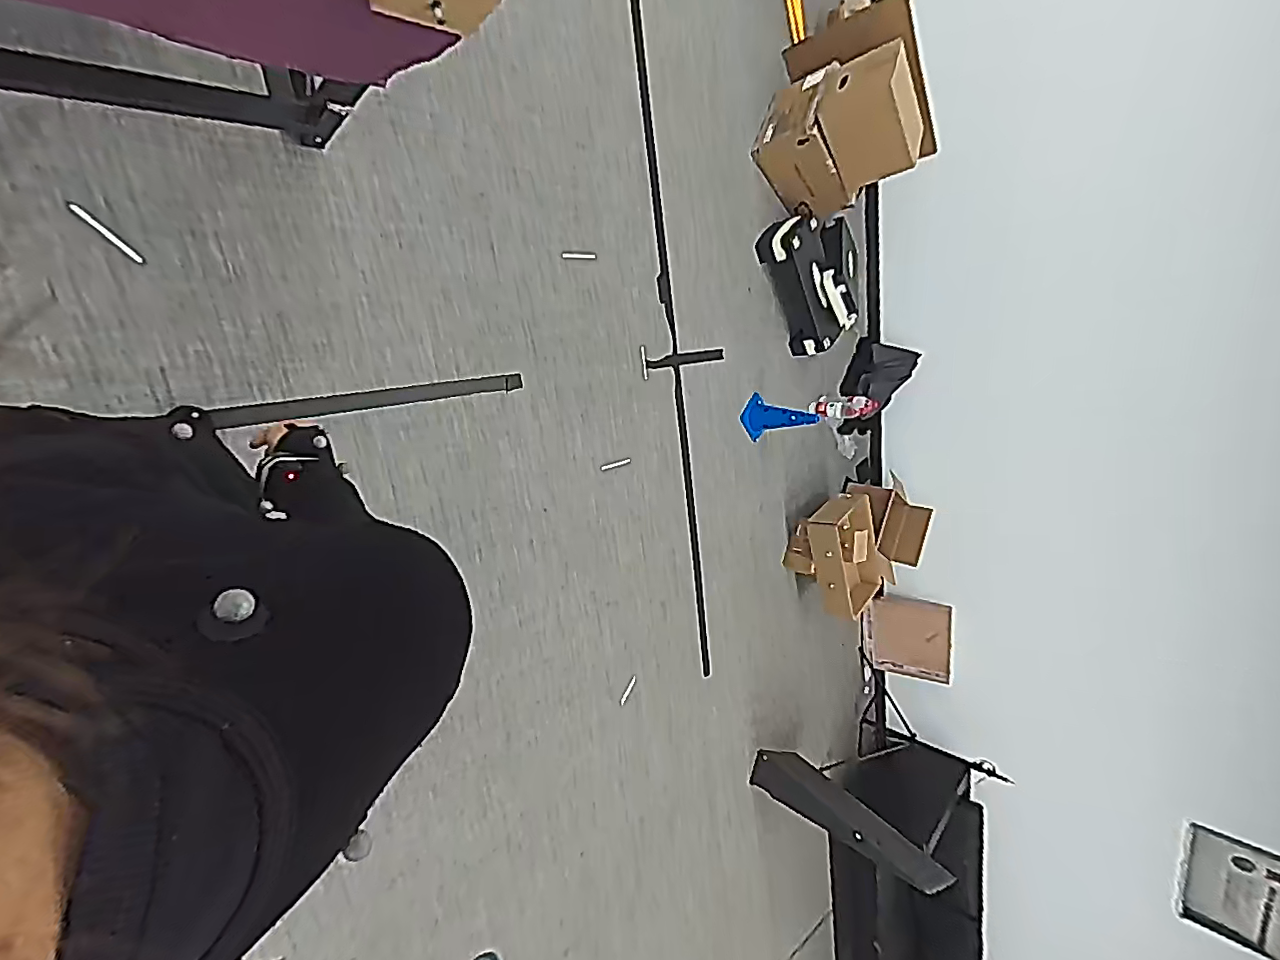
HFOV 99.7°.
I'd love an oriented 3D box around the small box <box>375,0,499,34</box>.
[{"bbox_3d":[-0.303,-0.803,0.778,0.168,0.176,0.179,-19,109,-39],"label":"small box"}]
